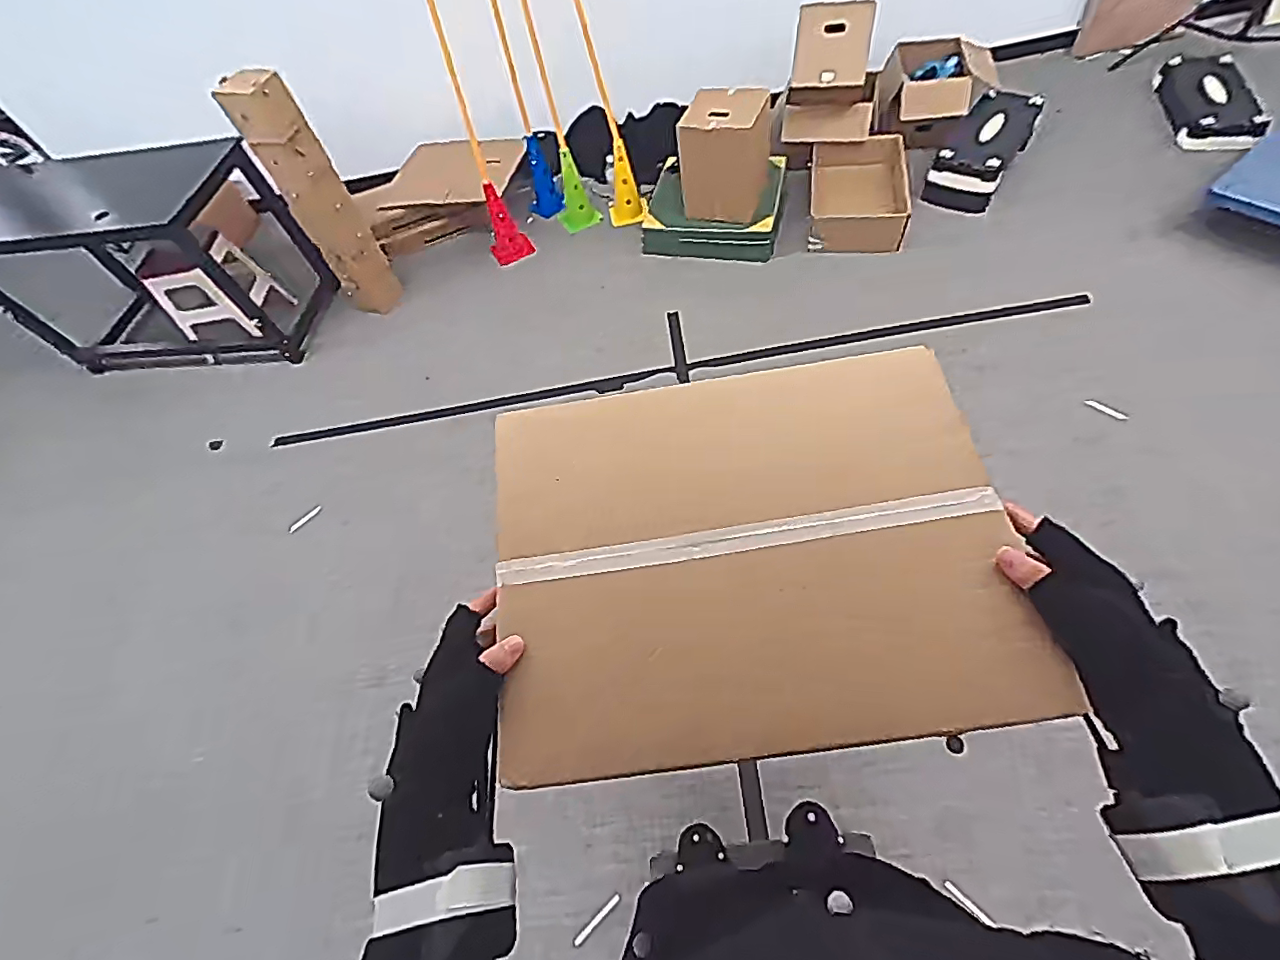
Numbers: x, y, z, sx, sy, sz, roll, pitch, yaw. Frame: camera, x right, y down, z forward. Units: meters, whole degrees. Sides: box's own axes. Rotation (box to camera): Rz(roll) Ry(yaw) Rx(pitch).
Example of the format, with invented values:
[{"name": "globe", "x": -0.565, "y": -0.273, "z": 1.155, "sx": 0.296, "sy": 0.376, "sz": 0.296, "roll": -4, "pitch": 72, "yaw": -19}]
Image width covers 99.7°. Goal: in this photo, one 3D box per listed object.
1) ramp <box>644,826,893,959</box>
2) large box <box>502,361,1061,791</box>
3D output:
[{"name": "ramp", "x": 0.306, "y": 1.251, "z": 1.016, "sx": 0.509, "sy": 0.206, "sz": 0.991, "roll": -9, "pitch": 58, "yaw": 1}, {"name": "large box", "x": 0.099, "y": 0.116, "z": 0.580, "sx": 0.408, "sy": 0.320, "sz": 0.320, "roll": -9, "pitch": 64, "yaw": 2}]
